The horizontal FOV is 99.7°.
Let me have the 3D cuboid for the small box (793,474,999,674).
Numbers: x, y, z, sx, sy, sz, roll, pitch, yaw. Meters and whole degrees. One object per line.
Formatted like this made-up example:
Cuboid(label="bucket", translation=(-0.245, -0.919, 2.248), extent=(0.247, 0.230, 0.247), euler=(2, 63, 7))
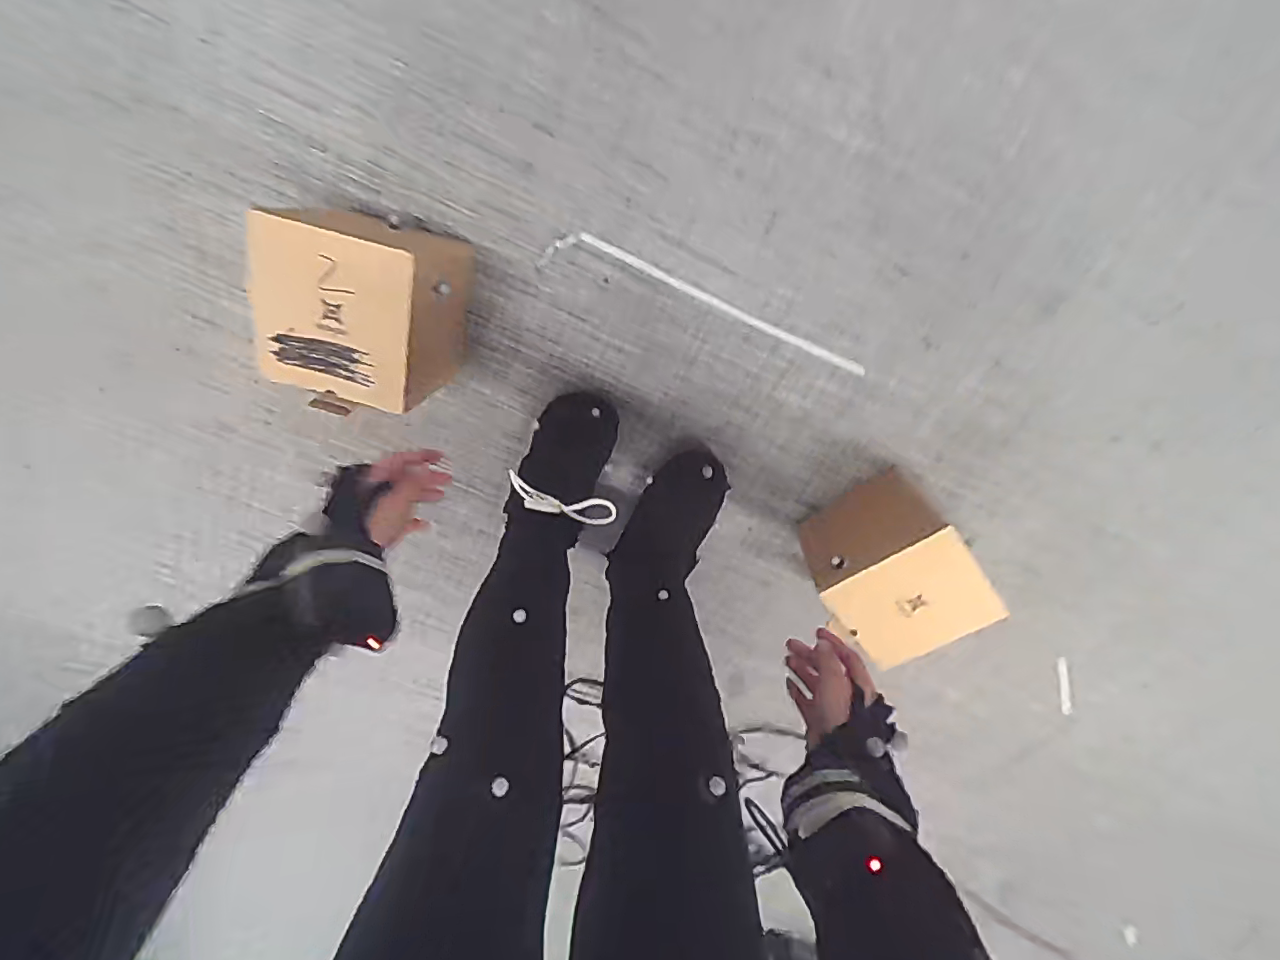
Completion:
Cuboid(label="small box", translation=(0.336, 0.122, 0.742), extent=(0.179, 0.176, 0.168), euler=(-34, 110, 20))
